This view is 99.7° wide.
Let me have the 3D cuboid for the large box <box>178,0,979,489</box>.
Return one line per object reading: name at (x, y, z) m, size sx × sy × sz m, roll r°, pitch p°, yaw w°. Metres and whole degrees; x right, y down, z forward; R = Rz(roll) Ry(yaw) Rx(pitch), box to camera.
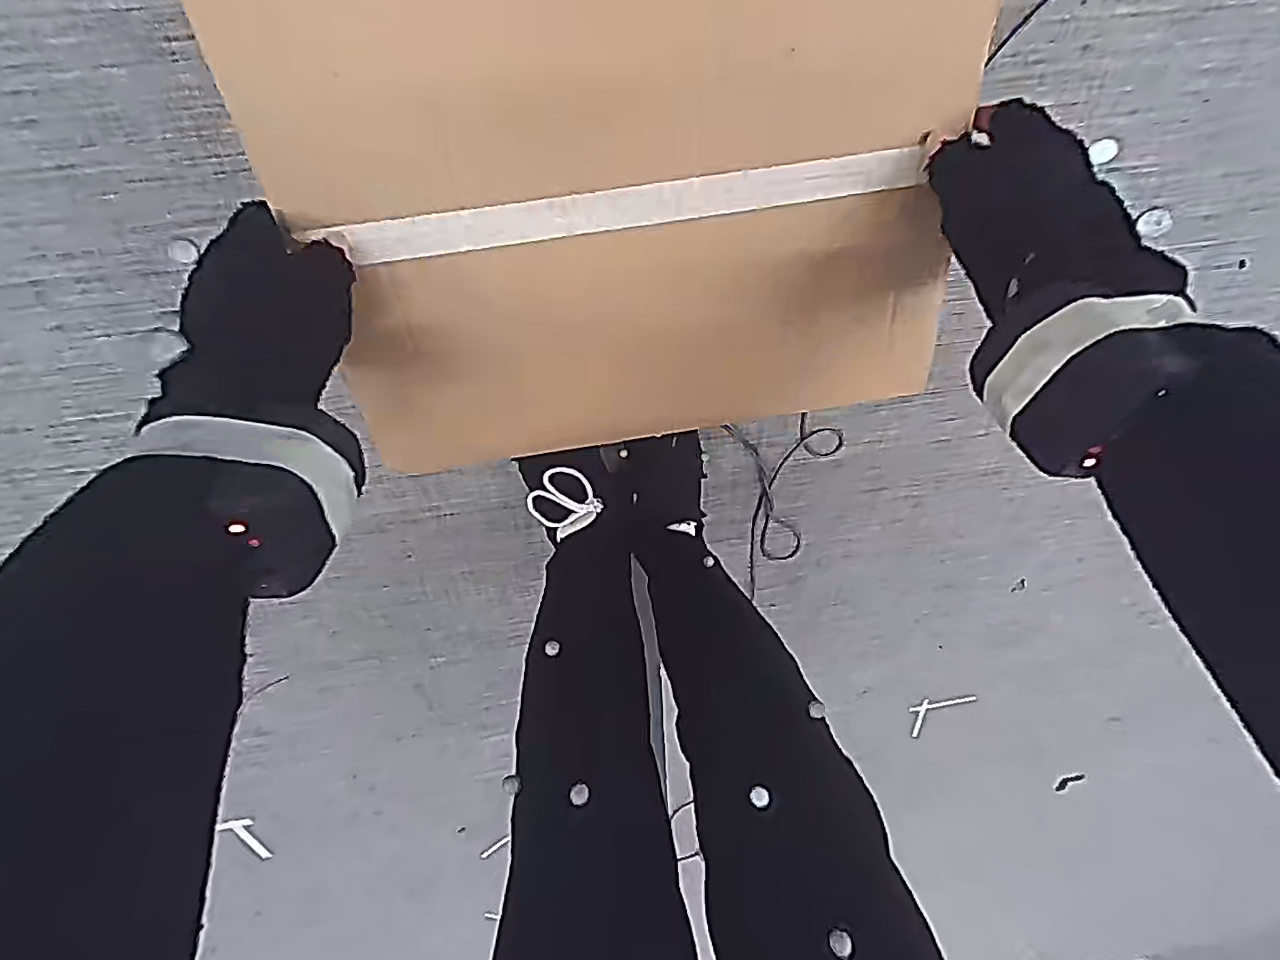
large box at (-0.022, -0.234, 0.453) m, size 0.408 × 0.320 × 0.320 m, roll -10°, pitch 123°, yaw -3°
